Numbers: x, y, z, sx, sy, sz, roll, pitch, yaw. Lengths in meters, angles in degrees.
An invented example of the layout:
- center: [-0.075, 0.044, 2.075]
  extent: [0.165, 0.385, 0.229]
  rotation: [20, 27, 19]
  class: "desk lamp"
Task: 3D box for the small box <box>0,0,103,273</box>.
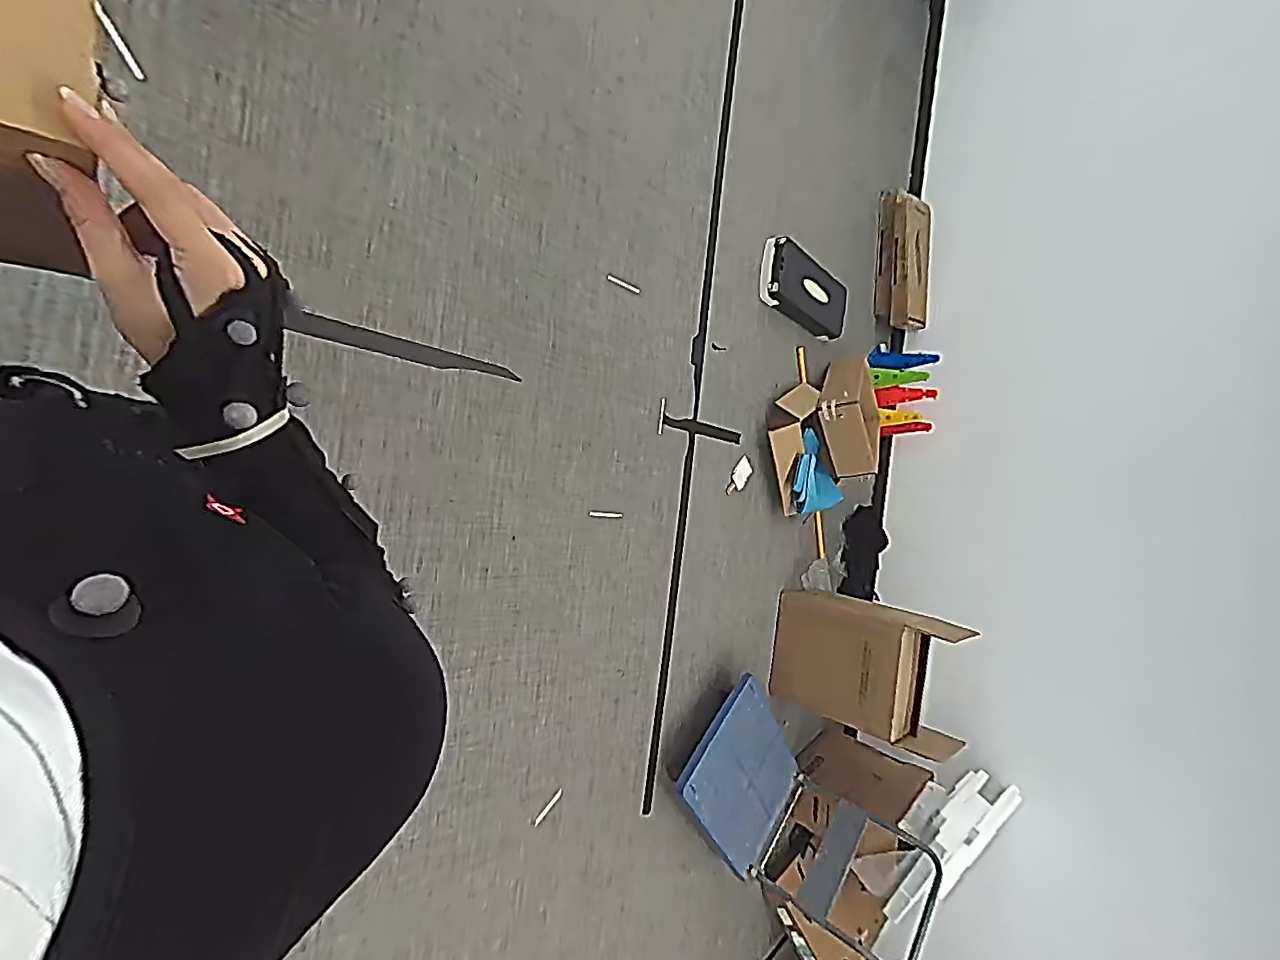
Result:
- center: [-0.370, -0.227, 0.252]
  extent: [0.168, 0.176, 0.179]
  rotation: [-1, 86, -46]
  class: "small box"
